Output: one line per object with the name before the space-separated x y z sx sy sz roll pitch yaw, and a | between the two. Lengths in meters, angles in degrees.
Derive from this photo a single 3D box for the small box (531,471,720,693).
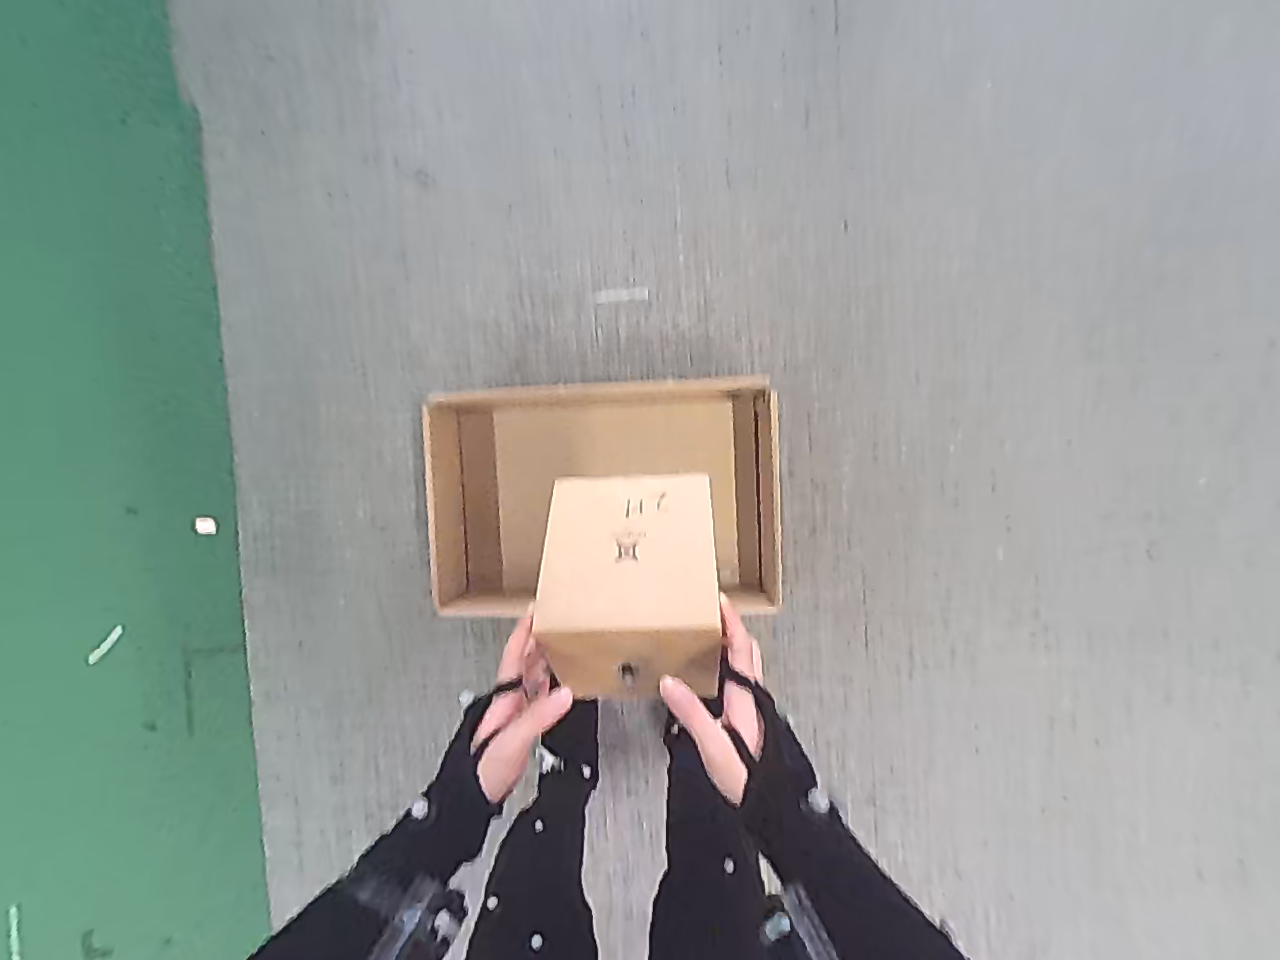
small box | -0.003 0.111 0.565 0.168 0.176 0.179 -1 49 4
